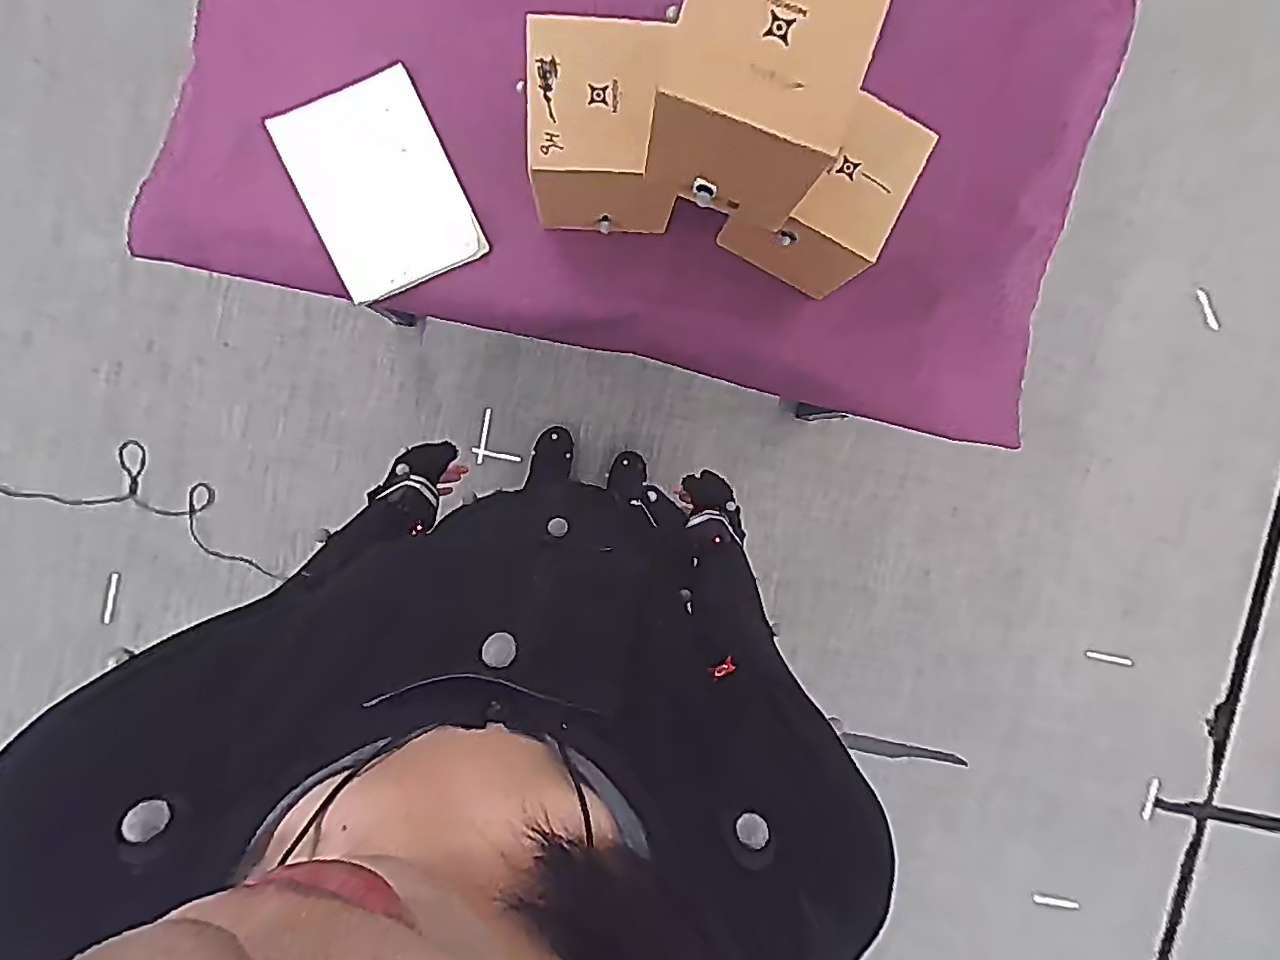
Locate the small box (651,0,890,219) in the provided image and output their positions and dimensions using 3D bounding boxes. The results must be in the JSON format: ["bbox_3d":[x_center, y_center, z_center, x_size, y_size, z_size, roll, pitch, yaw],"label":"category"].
[{"bbox_3d":[0.113,-0.392,0.521,0.168,0.176,0.179,17,93,-3],"label":"small box"}]

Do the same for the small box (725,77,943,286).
[{"bbox_3d":[0.229,-0.376,0.692,0.179,0.176,0.168,27,91,-5],"label":"small box"}]

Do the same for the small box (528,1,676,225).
[{"bbox_3d":[-0.042,-0.435,0.671,0.179,0.176,0.168,0,93,-5],"label":"small box"}]
